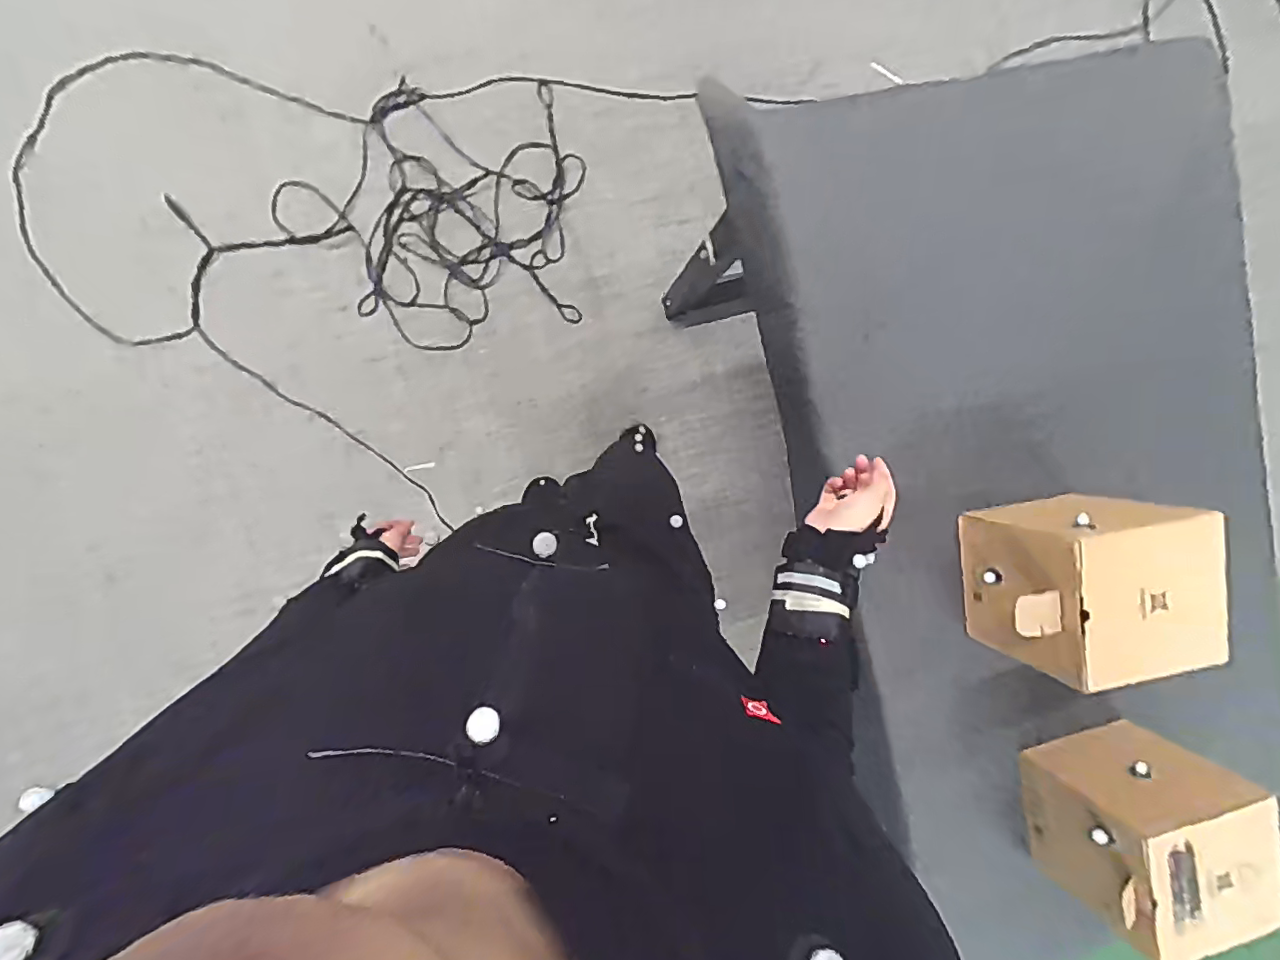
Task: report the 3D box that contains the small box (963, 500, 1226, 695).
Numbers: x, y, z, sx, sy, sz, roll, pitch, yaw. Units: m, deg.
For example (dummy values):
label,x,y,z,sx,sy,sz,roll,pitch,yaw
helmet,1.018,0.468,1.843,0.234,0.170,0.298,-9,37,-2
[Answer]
label,x,y,z,sx,sy,sz,roll,pitch,yaw
small box,0.523,0.123,0.639,0.179,0.176,0.168,-9,96,-7
